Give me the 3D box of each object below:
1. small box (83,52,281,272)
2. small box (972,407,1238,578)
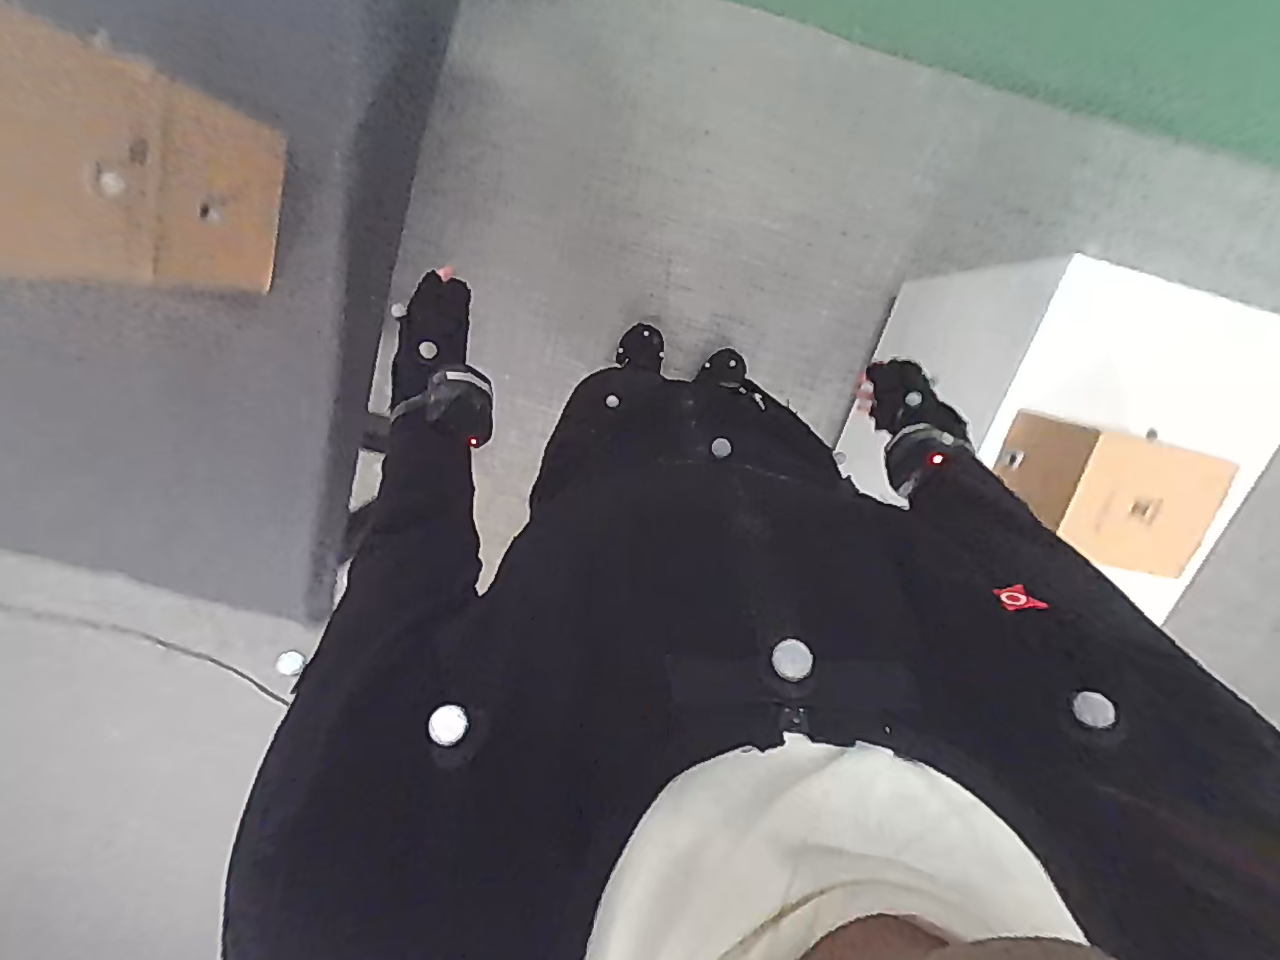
[{"bbox_3d":[-0.495,-0.319,0.537,0.168,0.176,0.179,18,108,-2],"label":"small box"},{"bbox_3d":[0.597,0.007,0.723,0.179,0.176,0.168,12,107,0],"label":"small box"}]
